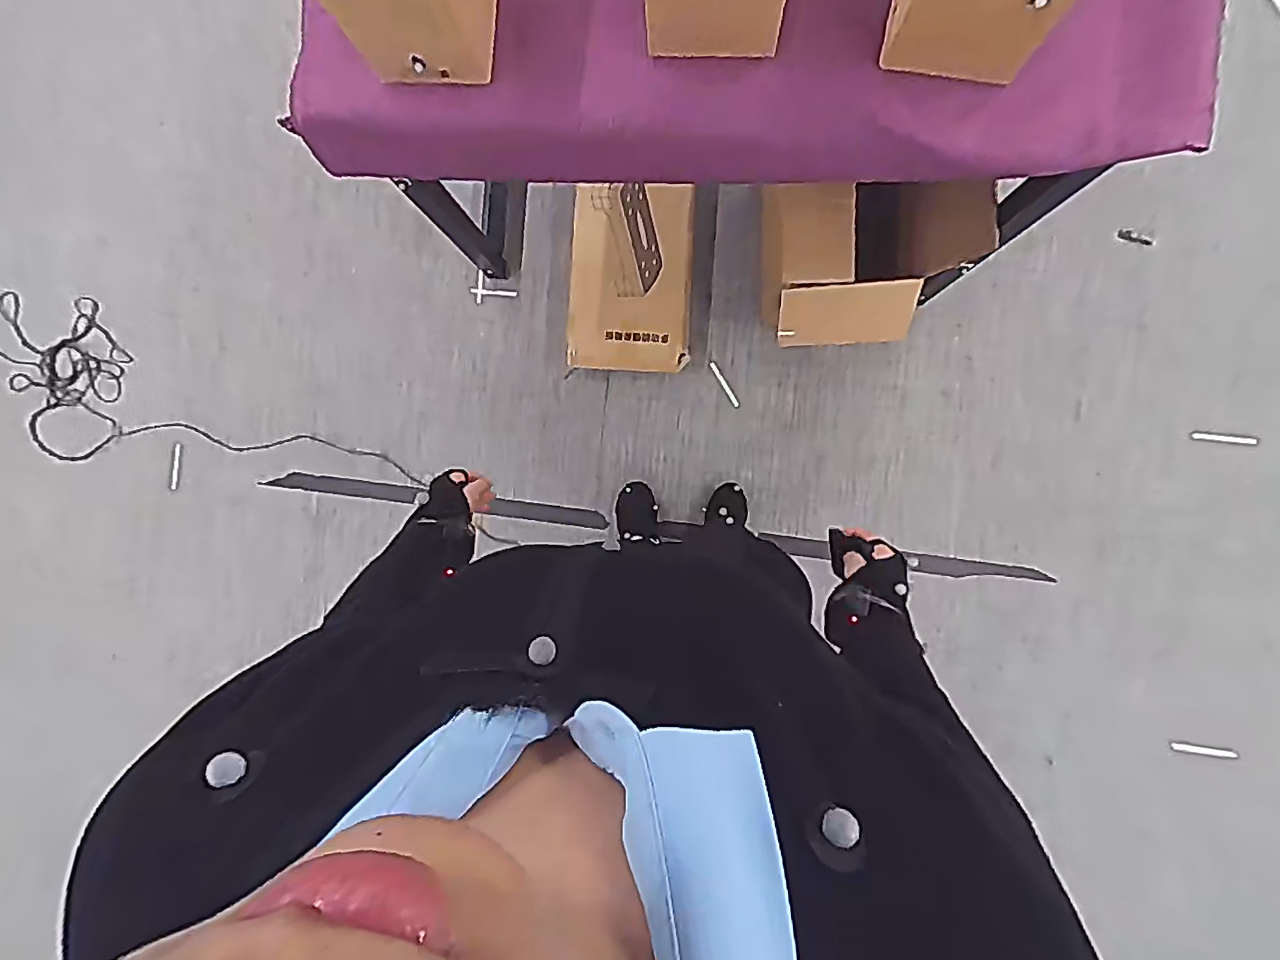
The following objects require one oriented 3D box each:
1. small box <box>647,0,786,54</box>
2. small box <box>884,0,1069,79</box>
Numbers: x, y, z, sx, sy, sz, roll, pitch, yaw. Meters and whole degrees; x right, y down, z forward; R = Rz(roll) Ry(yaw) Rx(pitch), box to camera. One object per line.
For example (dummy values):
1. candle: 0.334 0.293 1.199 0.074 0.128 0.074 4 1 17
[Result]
1. small box: 0.101 -0.667 0.663 0.179 0.176 0.168 4 88 4
2. small box: 0.415 -0.620 0.640 0.179 0.176 0.168 11 91 4
